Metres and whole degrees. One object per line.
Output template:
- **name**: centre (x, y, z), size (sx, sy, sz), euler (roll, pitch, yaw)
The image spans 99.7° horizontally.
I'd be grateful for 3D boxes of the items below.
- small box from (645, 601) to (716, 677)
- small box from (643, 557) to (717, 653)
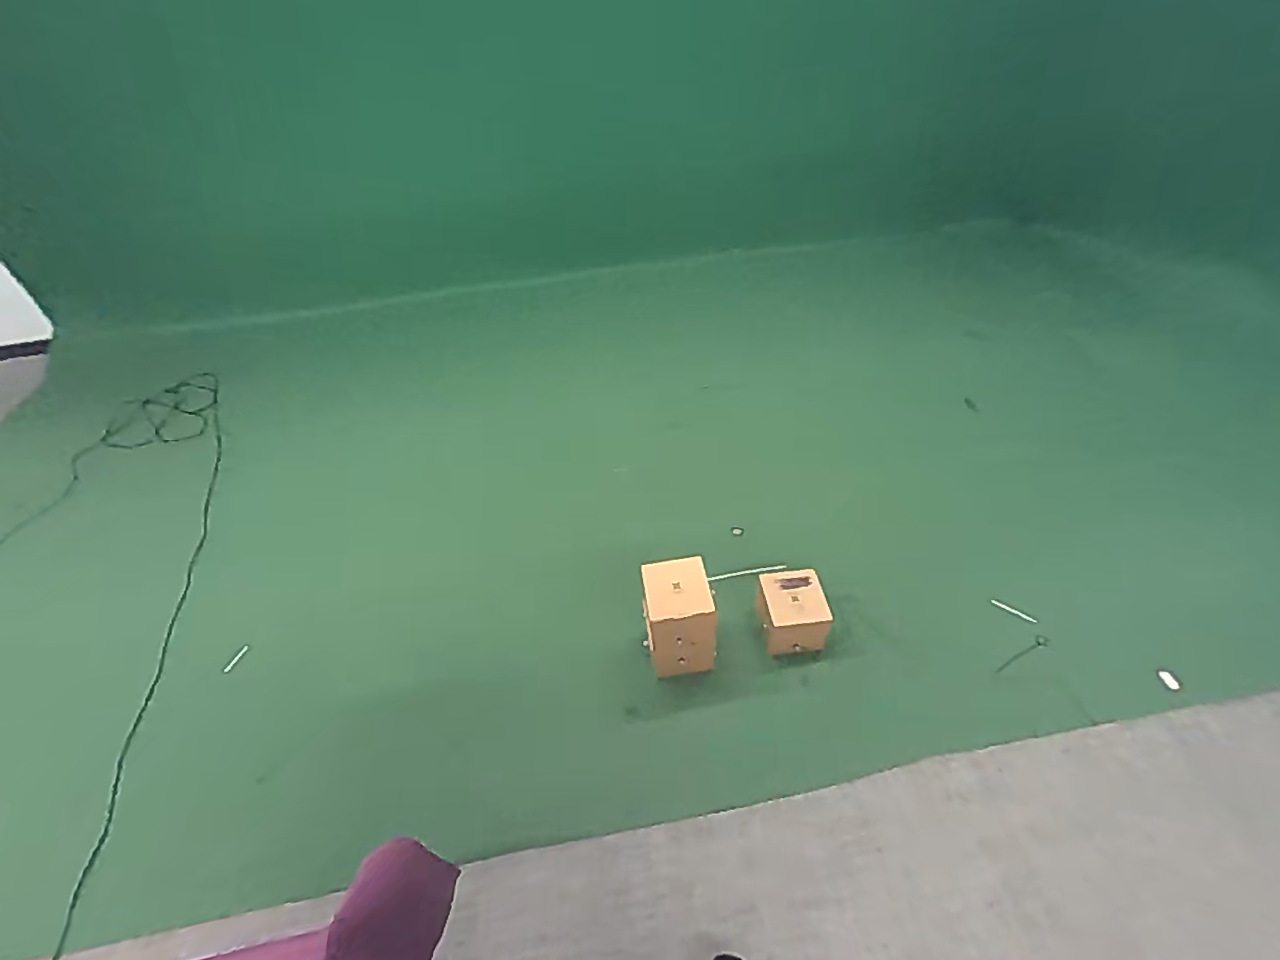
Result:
- **small box**: centre (0.114, 0.448, 1.560), size (0.179, 0.176, 0.168), euler (-9, 45, -2)
- **small box**: centre (0.103, 0.335, 1.444), size (0.168, 0.176, 0.179), euler (-9, 45, -2)
